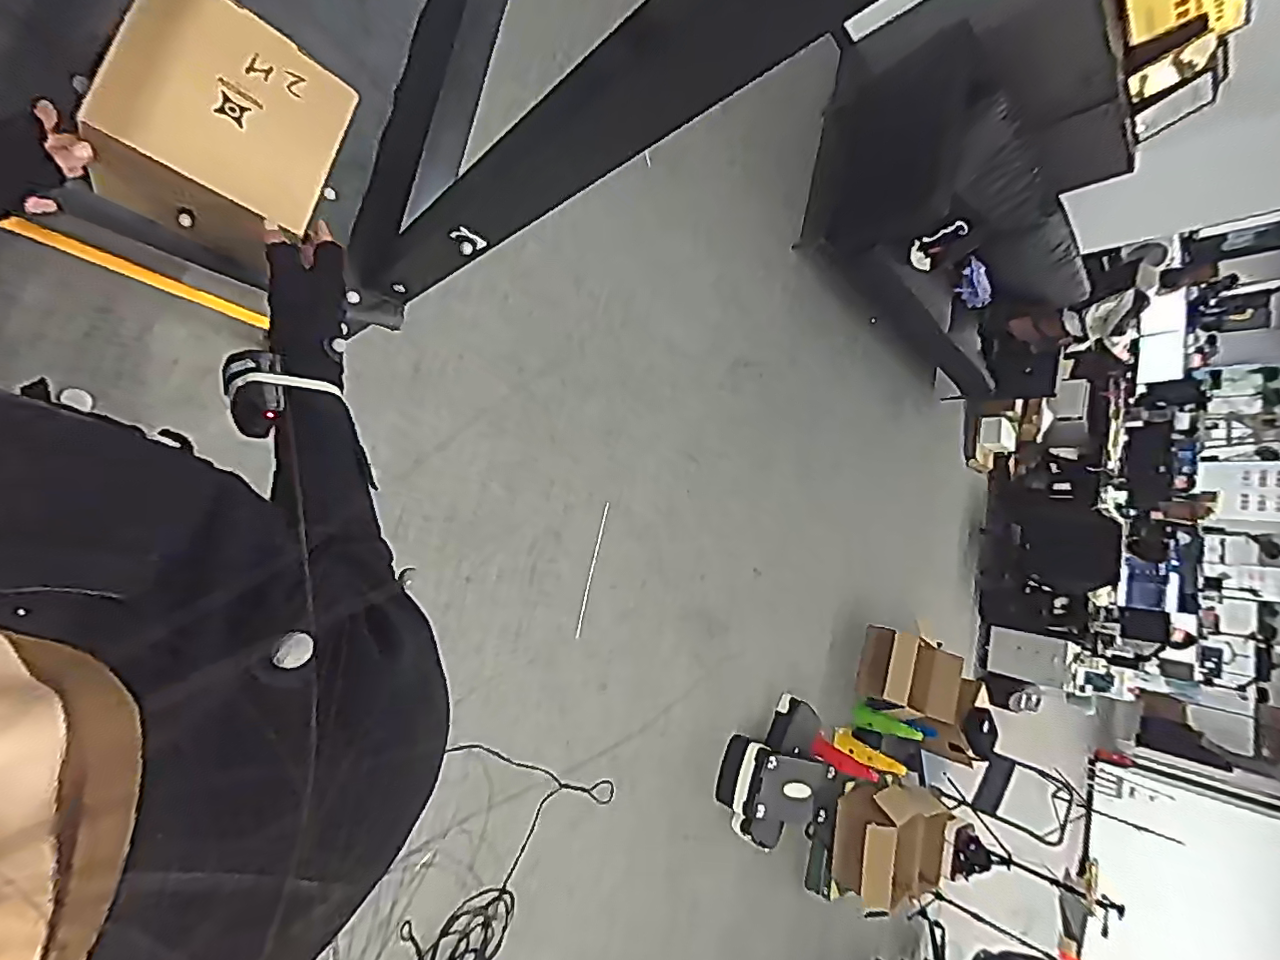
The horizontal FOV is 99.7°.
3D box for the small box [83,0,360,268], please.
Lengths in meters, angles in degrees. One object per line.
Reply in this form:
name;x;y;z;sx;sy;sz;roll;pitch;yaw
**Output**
small box;-0.424;-0.351;0.561;0.168;0.176;0.179;23;76;-41
